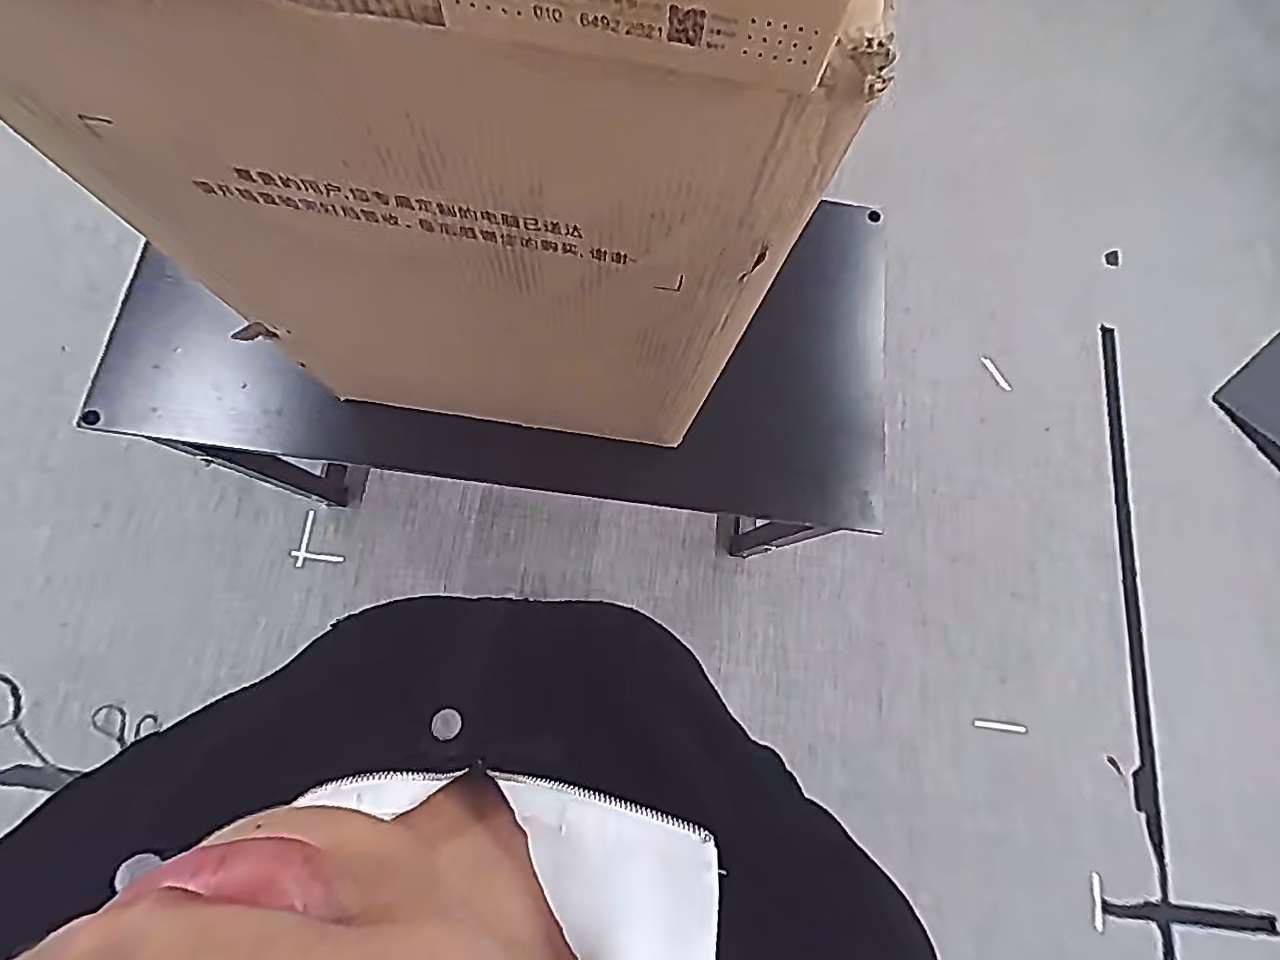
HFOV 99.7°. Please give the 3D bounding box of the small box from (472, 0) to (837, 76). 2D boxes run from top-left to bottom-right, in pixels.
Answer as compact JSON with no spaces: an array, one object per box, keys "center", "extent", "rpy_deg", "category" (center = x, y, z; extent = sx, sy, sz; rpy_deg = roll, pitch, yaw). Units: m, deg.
[{"center":[0.013,-0.289,0.176],"extent":[0.168,0.176,0.179],"rpy_deg":[8,79,-2],"category":"small box"}]
